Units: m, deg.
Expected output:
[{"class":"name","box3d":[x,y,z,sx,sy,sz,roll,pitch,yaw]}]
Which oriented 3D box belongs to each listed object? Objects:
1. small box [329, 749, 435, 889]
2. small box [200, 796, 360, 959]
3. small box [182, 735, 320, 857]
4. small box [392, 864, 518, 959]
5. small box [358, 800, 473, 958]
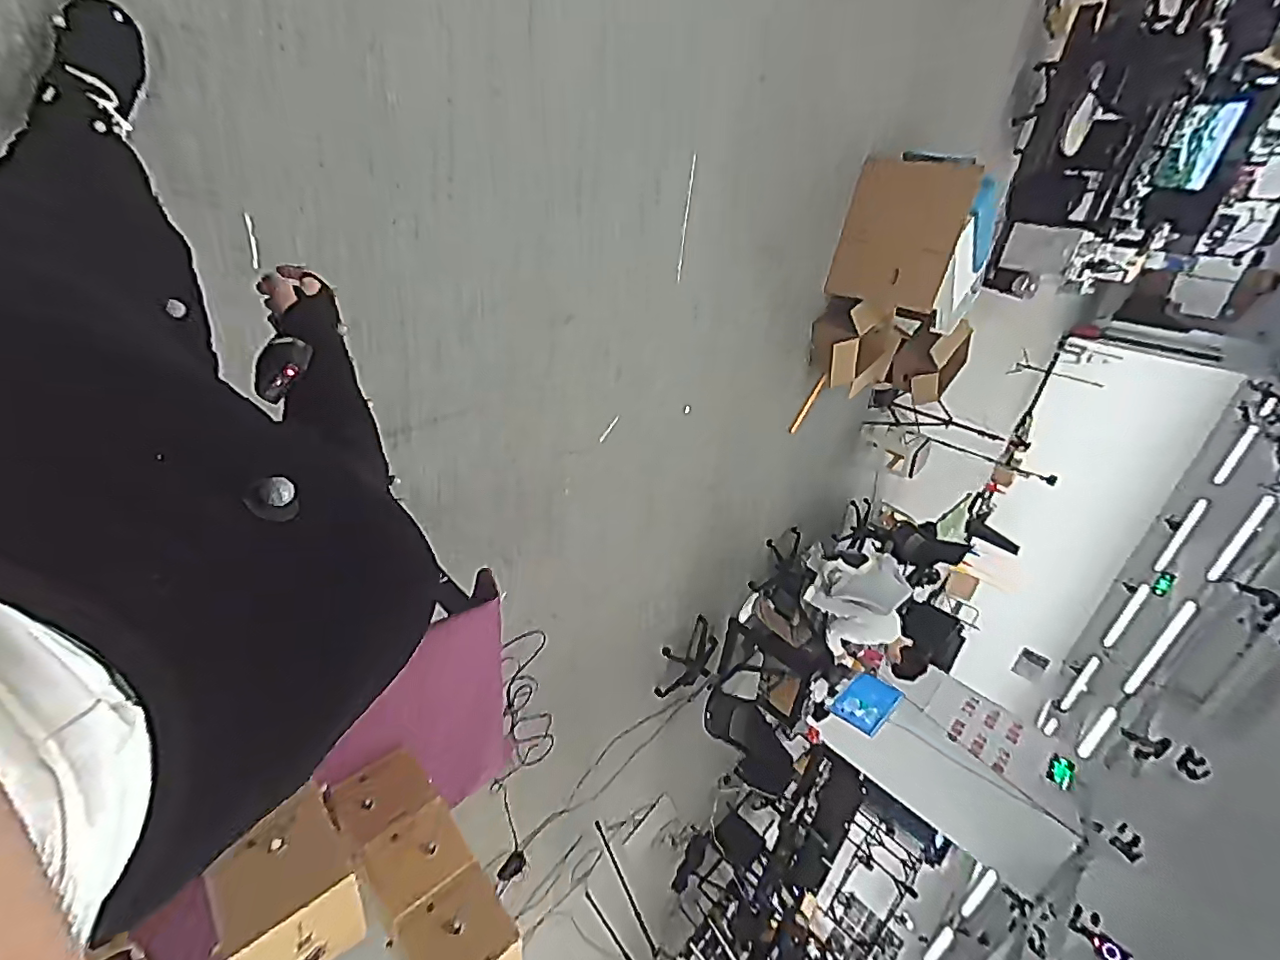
[{"class":"small box","box3d":[-0.568,0.737,1.200,0.168,0.176,0.179,-19,128,-41]},{"class":"small box","box3d":[-0.570,0.659,0.864,0.168,0.176,0.179,-19,128,-42]},{"class":"small box","box3d":[-0.683,0.591,0.962,0.168,0.176,0.179,-18,127,-41]},{"class":"small box","box3d":[-0.343,0.869,1.006,0.168,0.176,0.179,-20,127,-40]},{"class":"small box","box3d":[-0.455,0.798,1.103,0.168,0.176,0.179,-19,128,-40]}]
